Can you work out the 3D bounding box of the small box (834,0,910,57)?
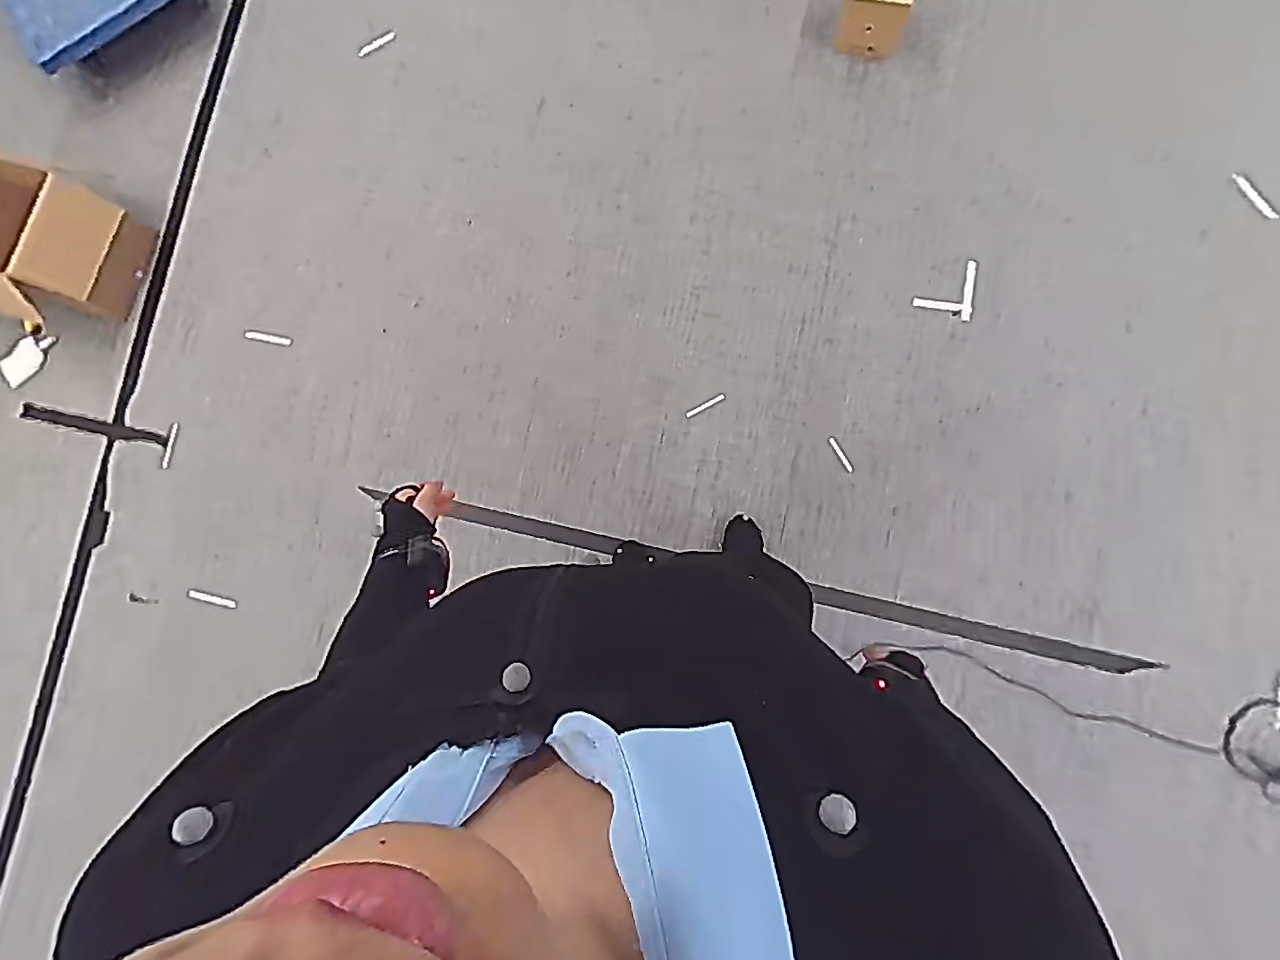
[{"bbox_3d":[0.663,-1.350,1.527,0.168,0.176,0.179,14,85,6],"label":"small box"}]
